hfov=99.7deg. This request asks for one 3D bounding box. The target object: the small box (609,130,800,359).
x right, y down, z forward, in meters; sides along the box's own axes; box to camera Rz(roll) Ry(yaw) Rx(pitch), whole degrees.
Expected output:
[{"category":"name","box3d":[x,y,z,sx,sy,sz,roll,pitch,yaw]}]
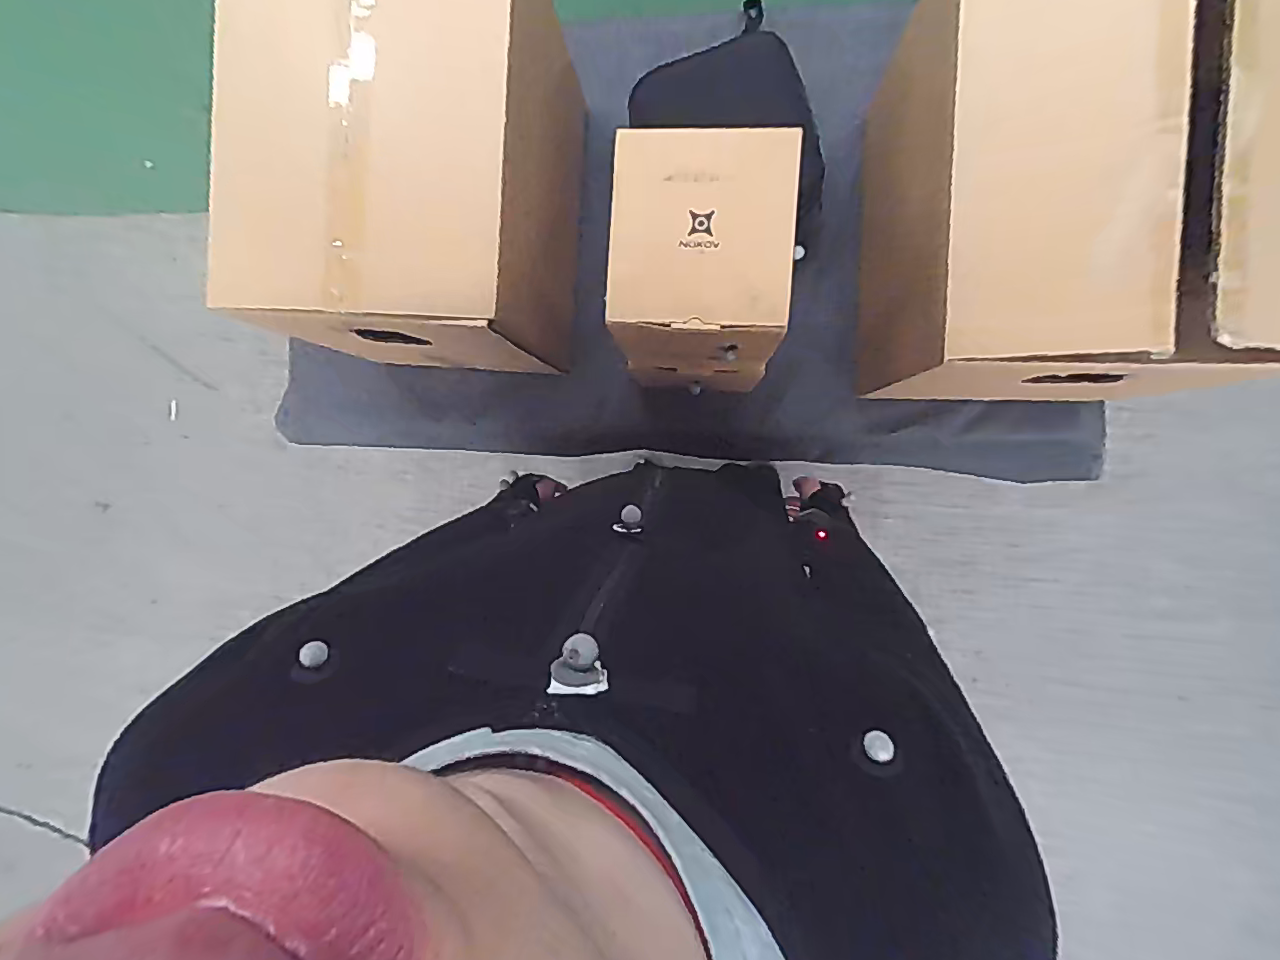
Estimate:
[{"category":"small box","box3d":[0.064,-0.228,0.566,0.168,0.176,0.179,3,91,5]}]
